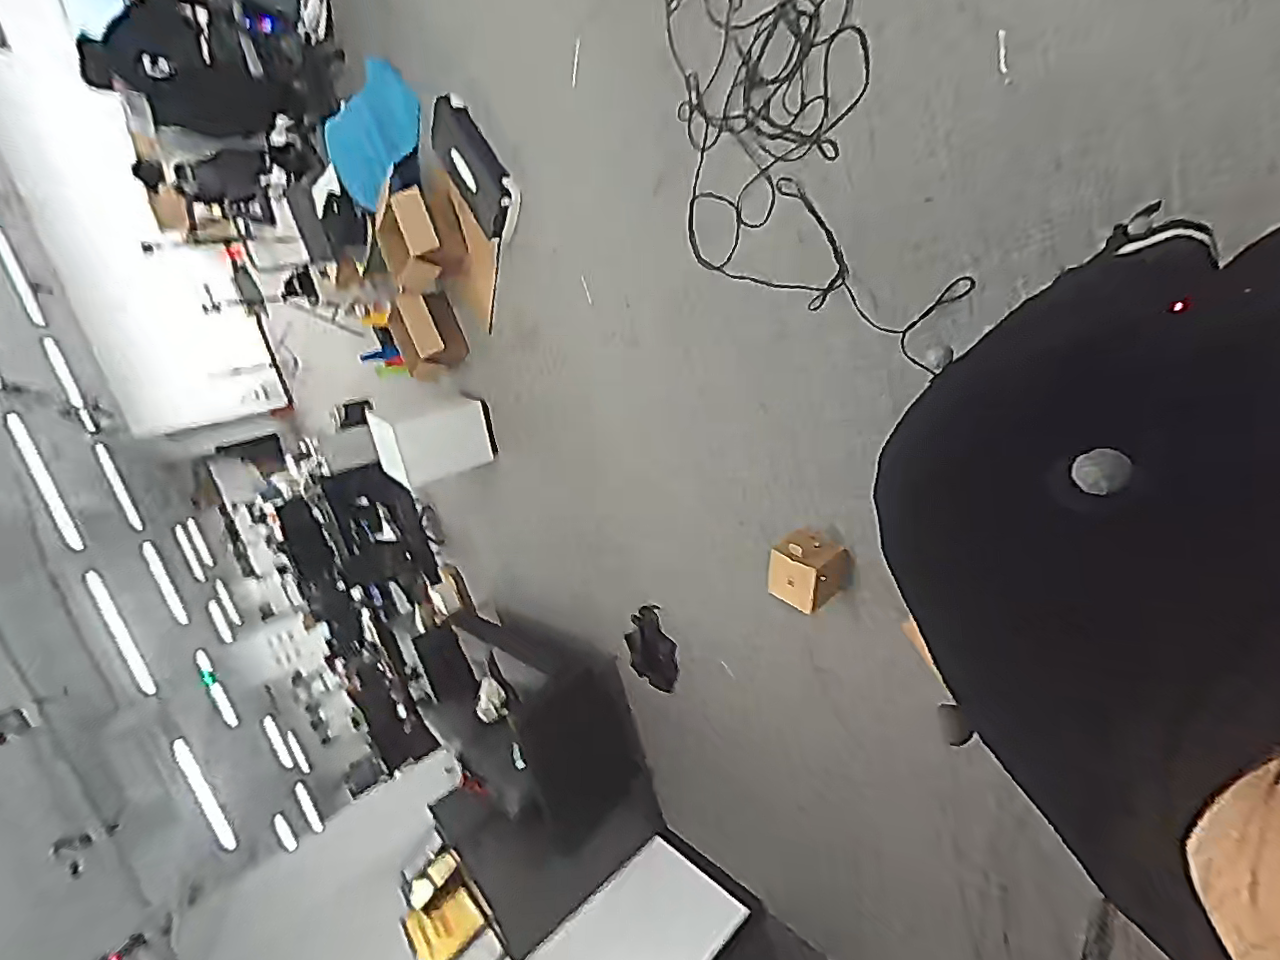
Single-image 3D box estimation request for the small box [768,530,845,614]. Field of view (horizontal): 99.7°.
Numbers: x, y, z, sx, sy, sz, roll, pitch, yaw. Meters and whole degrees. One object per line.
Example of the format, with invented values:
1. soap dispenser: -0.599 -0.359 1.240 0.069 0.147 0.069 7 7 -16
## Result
1. small box: 0.533 0.290 1.731 0.168 0.176 0.179 27 129 44
